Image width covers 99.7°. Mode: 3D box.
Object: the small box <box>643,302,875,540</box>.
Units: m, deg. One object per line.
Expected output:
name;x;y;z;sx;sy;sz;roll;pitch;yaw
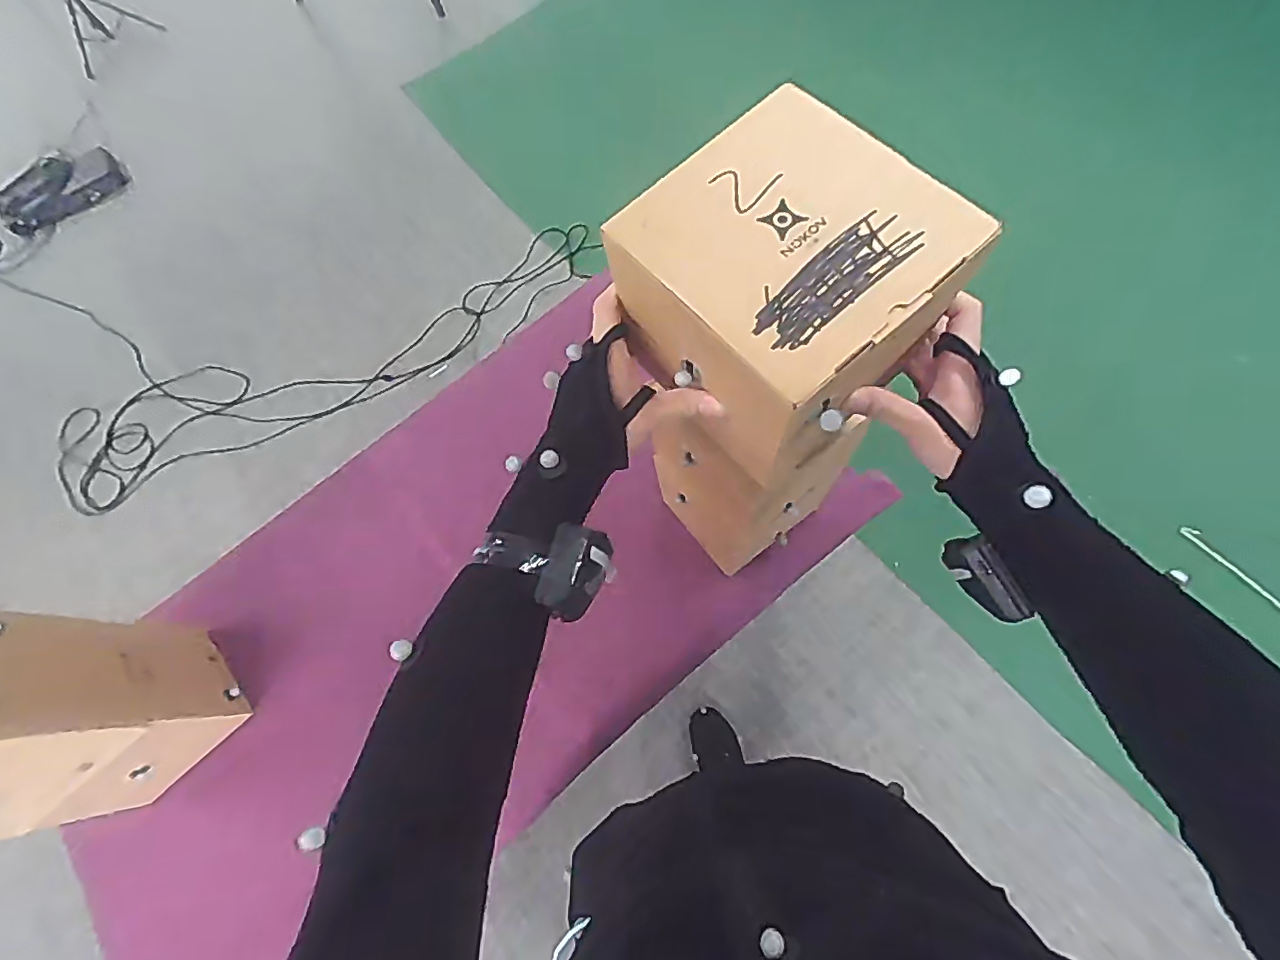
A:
small box;0.124;-0.057;0.618;0.168;0.176;0.179;-37;70;-6

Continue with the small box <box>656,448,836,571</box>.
small box;0.140;0.004;0.768;0.179;0.176;0.168;-36;69;-8

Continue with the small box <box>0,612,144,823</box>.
small box;-0.701;0.255;0.581;0.168;0.176;0.179;-42;71;-10

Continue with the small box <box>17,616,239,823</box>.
small box;-0.695;0.311;0.733;0.179;0.176;0.168;-43;72;-10
